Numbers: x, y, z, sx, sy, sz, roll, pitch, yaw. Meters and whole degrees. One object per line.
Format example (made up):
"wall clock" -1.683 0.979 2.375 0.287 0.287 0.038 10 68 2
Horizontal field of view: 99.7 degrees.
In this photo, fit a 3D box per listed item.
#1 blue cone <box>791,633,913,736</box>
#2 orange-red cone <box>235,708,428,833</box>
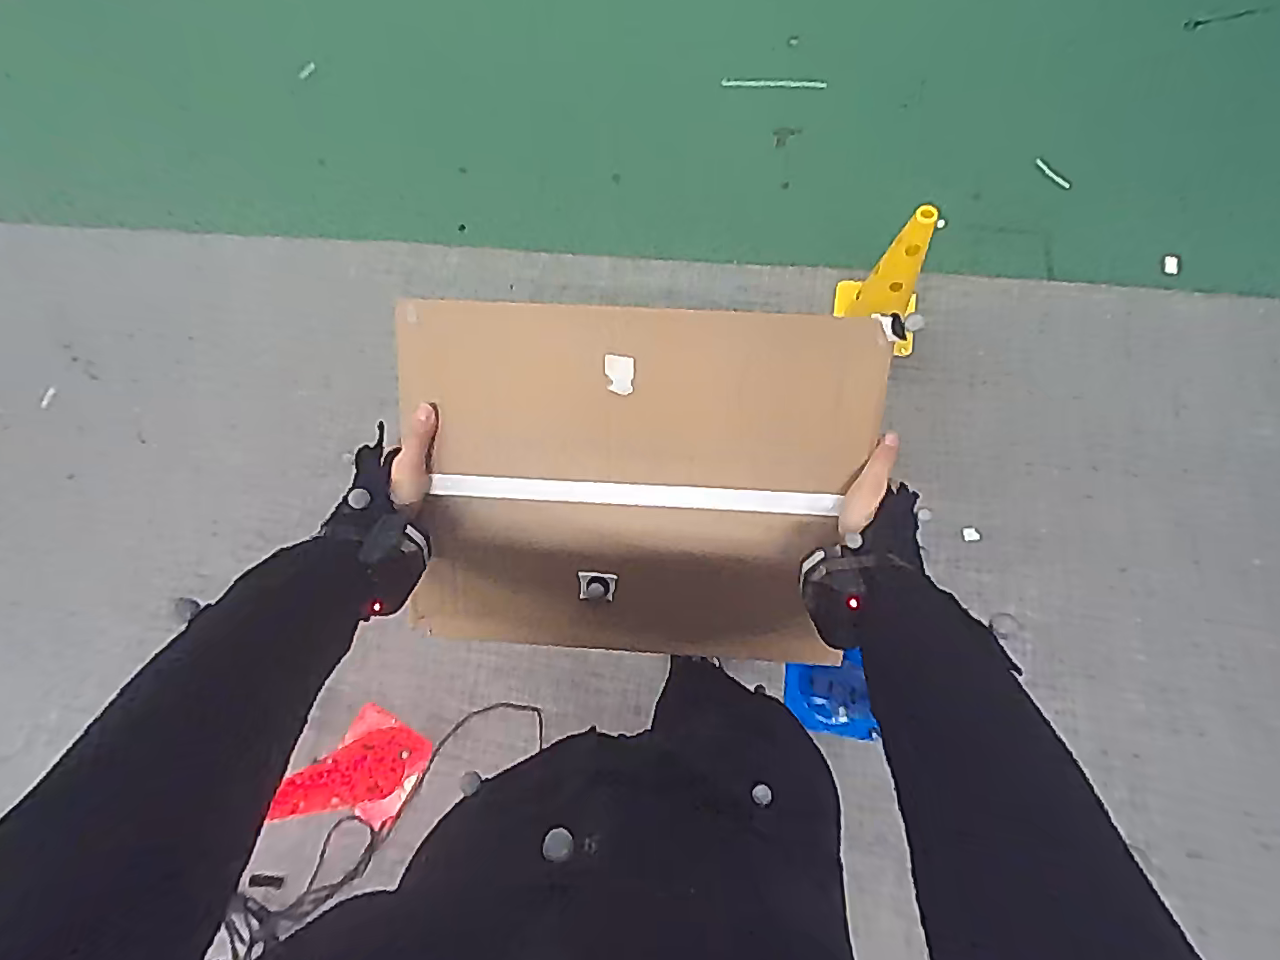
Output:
"blue cone" 0.398 0.376 0.977 0.192 0.380 0.193 7 74 9
"orange-red cone" -0.609 0.579 1.028 0.199 0.360 0.198 26 76 16
